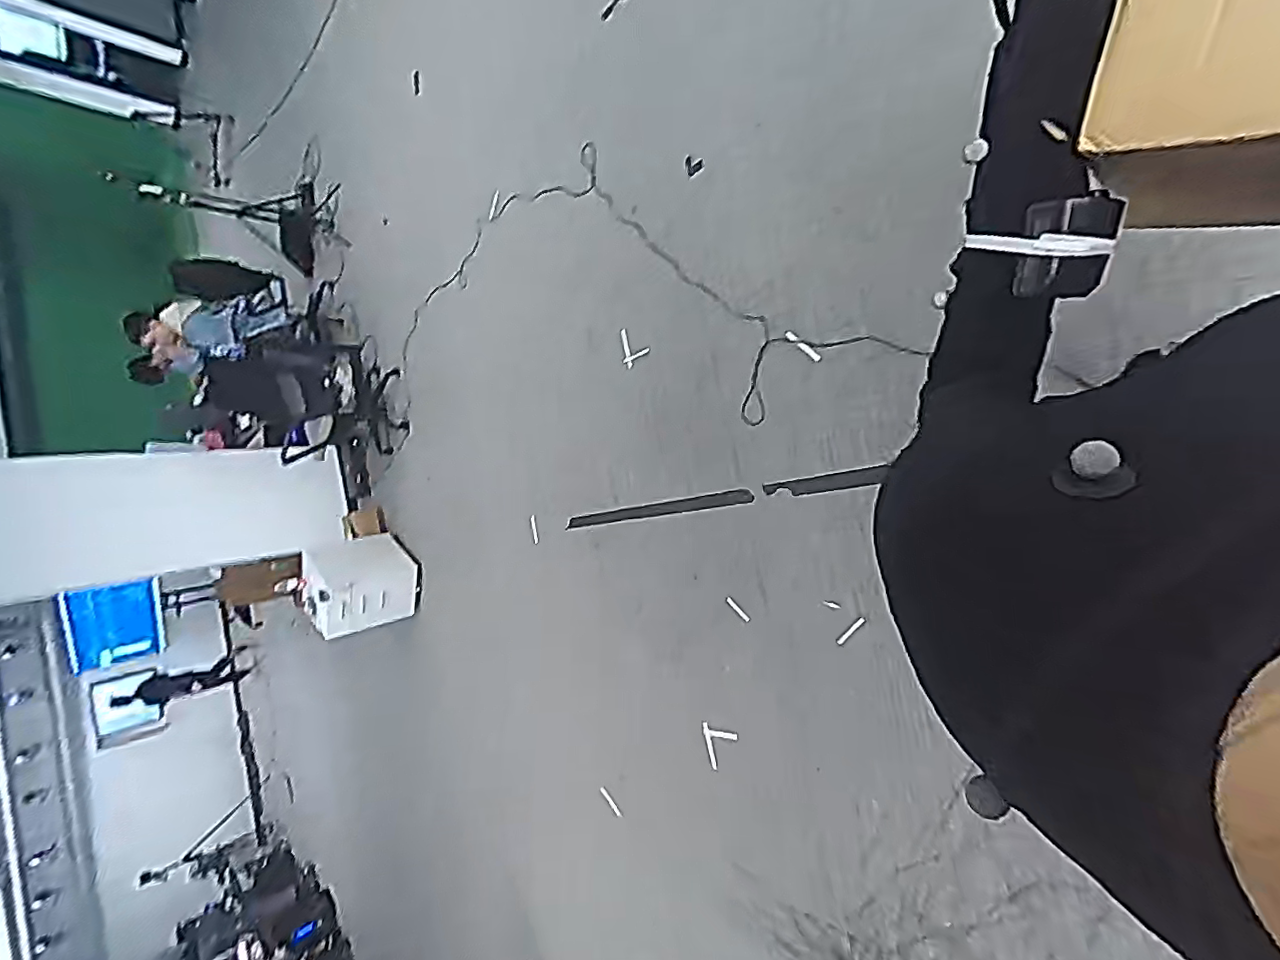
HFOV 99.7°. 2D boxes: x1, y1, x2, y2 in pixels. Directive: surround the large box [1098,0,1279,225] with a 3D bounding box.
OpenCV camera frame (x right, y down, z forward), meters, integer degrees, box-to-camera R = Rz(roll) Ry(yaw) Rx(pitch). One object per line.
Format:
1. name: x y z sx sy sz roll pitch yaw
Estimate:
1. large box: 0.546 -0.331 0.279 0.408 0.320 0.320 21 115 40
